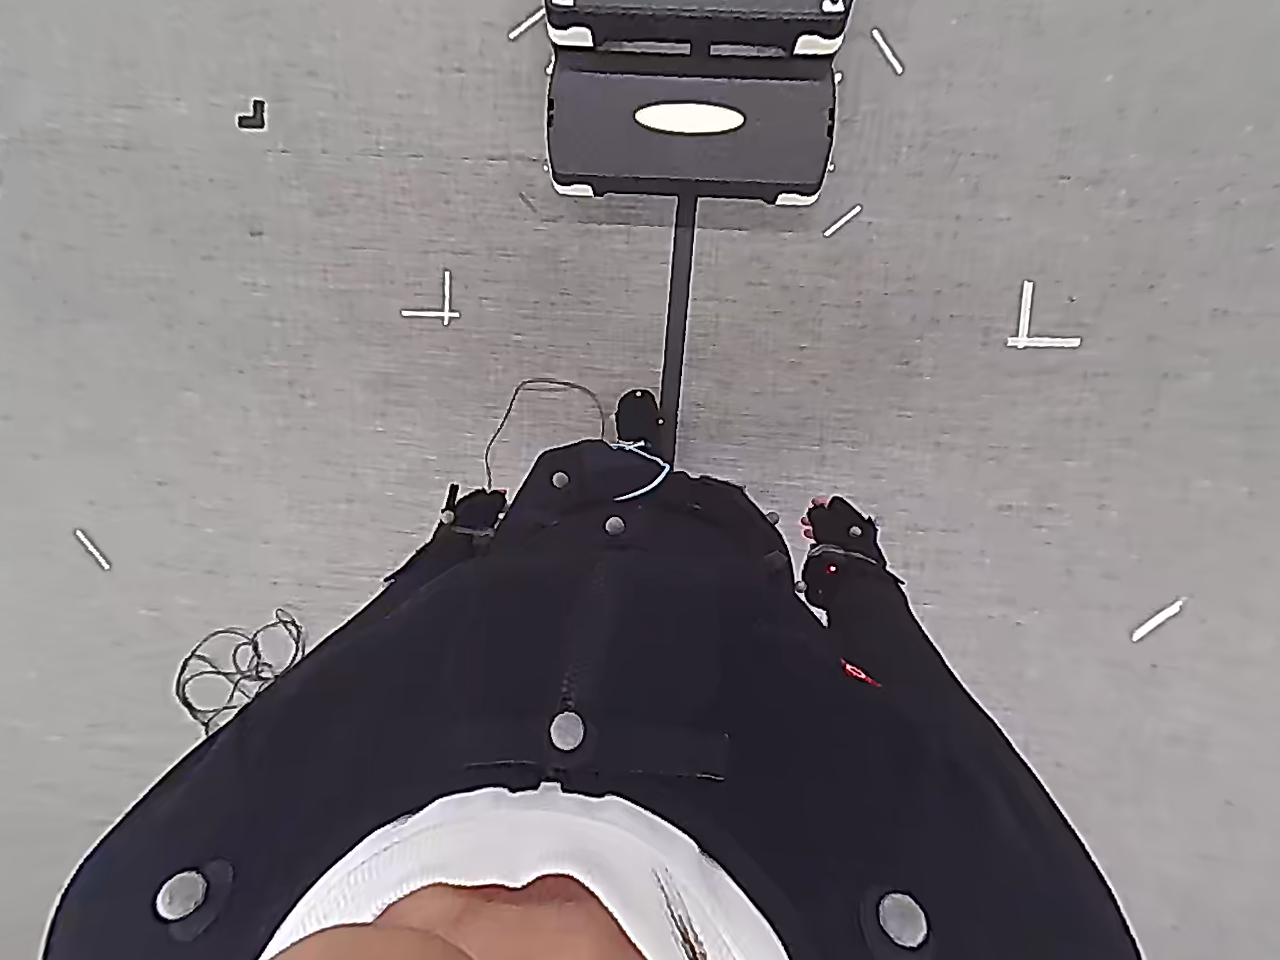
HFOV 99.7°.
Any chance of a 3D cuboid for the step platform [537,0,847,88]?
[{"bbox_3d":[0.111,-1.090,1.209,0.684,0.204,0.286,3,97,2],"label":"step platform"}]
